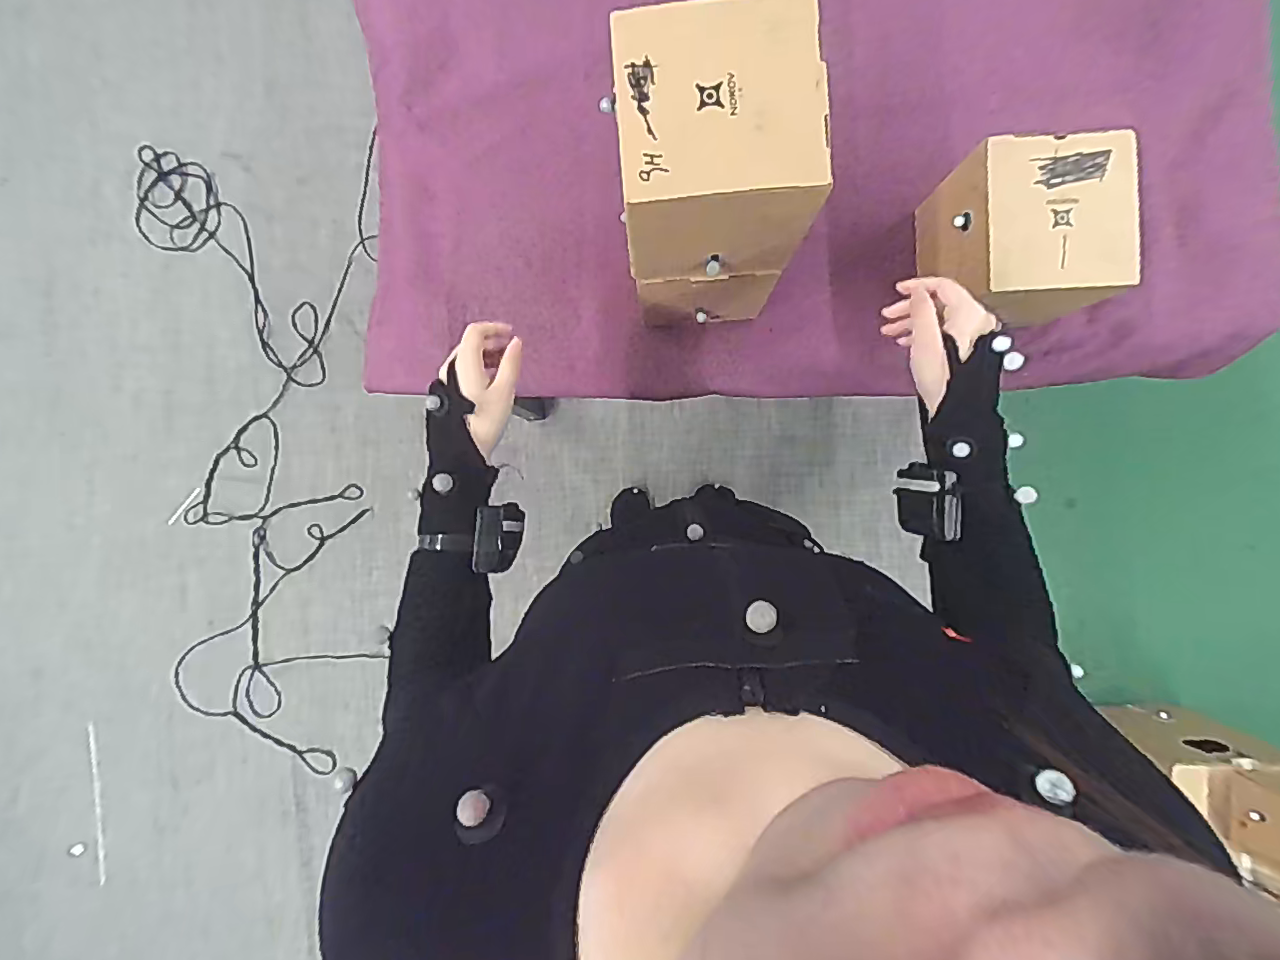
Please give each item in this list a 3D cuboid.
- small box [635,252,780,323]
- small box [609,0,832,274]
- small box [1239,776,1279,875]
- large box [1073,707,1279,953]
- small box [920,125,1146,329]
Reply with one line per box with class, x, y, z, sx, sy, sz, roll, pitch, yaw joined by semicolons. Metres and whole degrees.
small box;0.074;-0.313;0.683;0.168;0.176;0.179;-3;89;3
small box;0.066;-0.313;0.518;0.179;0.176;0.168;-4;88;1
small box;1.359;0.707;1.064;0.179;0.176;0.168;0;91;2
large box;1.318;0.812;1.309;0.320;0.320;0.408;-1;91;3
small box;0.468;-0.299;0.670;0.168;0.176;0.179;-2;90;2
